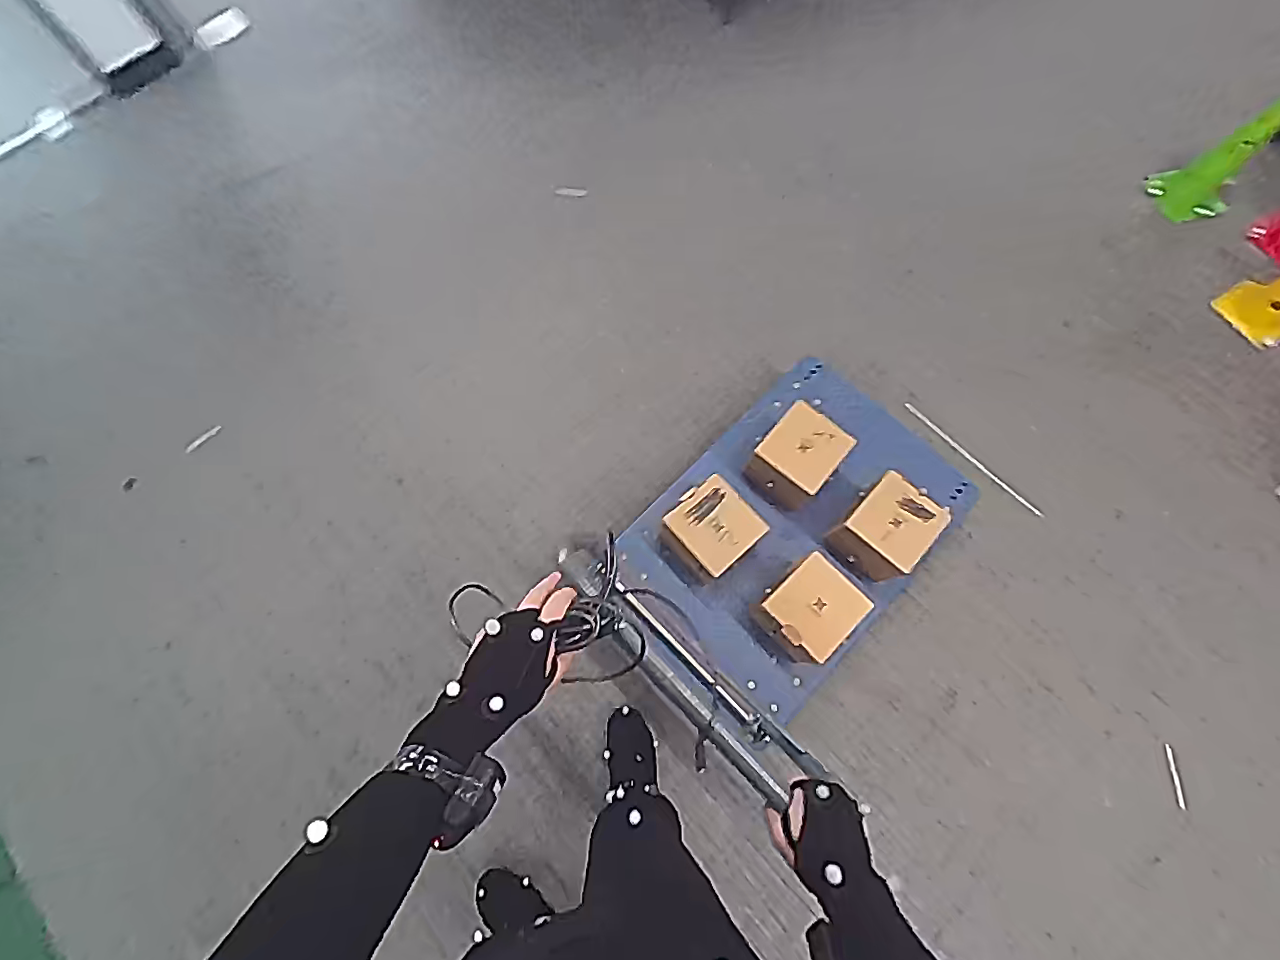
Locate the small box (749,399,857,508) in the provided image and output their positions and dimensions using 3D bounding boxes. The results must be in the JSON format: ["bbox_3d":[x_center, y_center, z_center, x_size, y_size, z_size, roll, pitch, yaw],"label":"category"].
[{"bbox_3d":[0.382,-0.056,1.309,0.168,0.176,0.179,40,78,11],"label":"small box"}]

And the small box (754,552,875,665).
[{"bbox_3d":[0.378,0.286,1.208,0.179,0.176,0.168,-43,77,-10],"label":"small box"}]

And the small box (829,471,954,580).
[{"bbox_3d":[0.571,0.112,1.255,0.168,0.176,0.179,42,79,13],"label":"small box"}]
